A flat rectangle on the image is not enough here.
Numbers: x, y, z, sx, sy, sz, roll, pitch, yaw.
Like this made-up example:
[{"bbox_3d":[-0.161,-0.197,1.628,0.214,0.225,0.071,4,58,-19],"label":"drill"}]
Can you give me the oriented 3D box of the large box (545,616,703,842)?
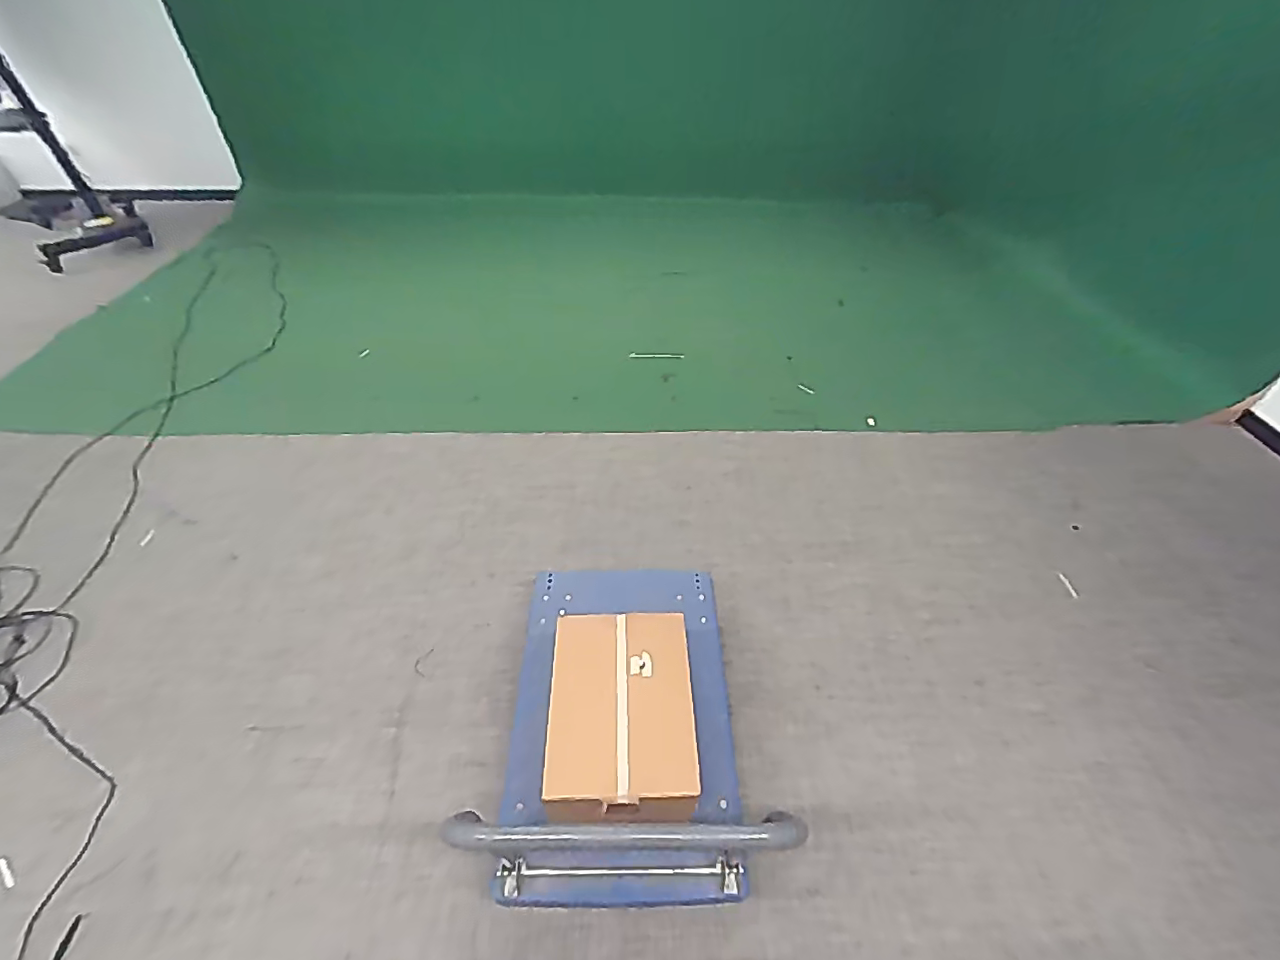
[{"bbox_3d":[-0.040,0.586,1.287,0.320,0.320,0.408,-1,44,-2],"label":"large box"}]
